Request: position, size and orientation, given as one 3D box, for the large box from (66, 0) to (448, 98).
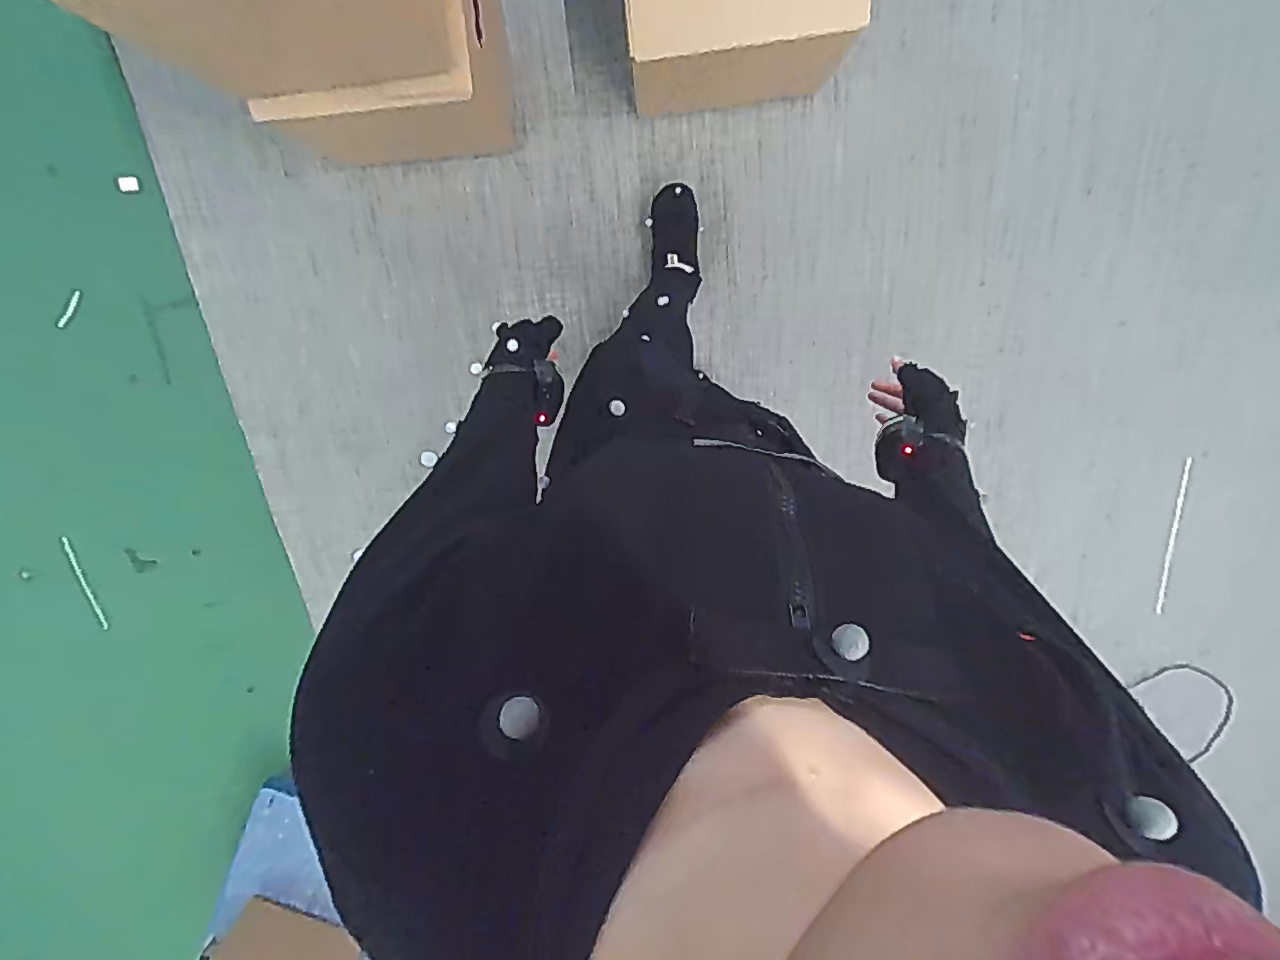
[{"bbox_3d":[-0.537,-0.790,0.751,0.408,0.320,0.320,-5,104,2],"label":"large box"}]
